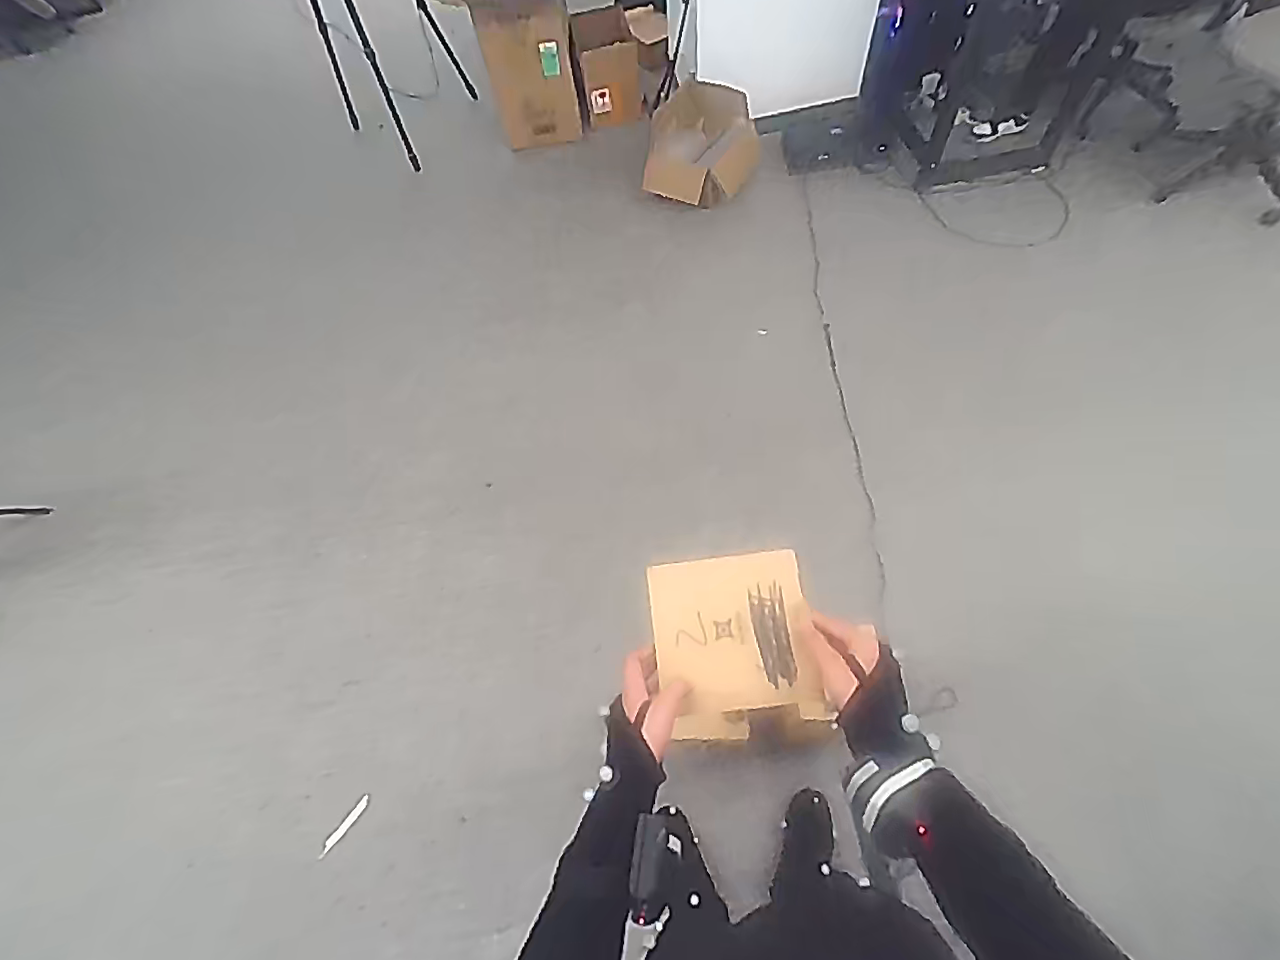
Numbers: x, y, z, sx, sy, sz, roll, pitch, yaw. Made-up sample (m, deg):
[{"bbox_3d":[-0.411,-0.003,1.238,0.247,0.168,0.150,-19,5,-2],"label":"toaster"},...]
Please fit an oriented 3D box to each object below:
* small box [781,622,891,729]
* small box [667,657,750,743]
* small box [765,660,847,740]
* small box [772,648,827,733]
[{"bbox_3d":[0.384,0.397,1.093,0.168,0.176,0.179,-2,60,6],"label":"small box"},{"bbox_3d":[0.154,0.508,1.244,0.179,0.176,0.168,-2,61,6],"label":"small box"},{"bbox_3d":[0.422,0.552,1.378,0.168,0.176,0.179,-10,61,2],"label":"small box"},{"bbox_3d":[0.405,0.475,1.237,0.179,0.176,0.168,-9,60,3],"label":"small box"}]
